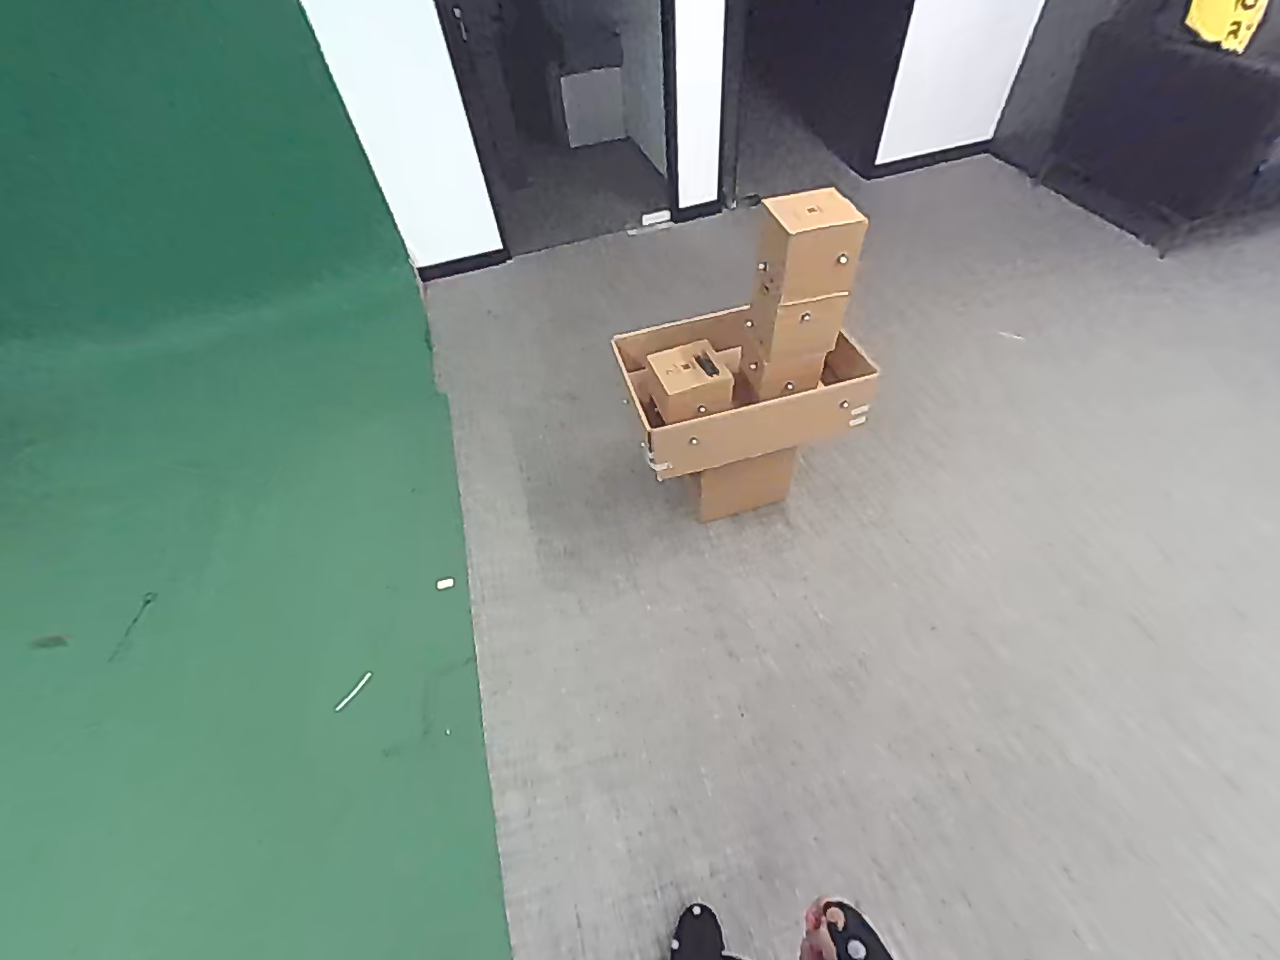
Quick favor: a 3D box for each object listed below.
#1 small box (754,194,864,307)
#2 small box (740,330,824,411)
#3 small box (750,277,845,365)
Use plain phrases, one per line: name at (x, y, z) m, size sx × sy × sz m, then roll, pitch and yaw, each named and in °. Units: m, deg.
small box at (0.374, -0.520, 1.234) m, size 0.179 × 0.176 × 0.168 m, roll -13°, pitch 50°, yaw -5°
small box at (0.381, -0.304, 1.481) m, size 0.168 × 0.176 × 0.179 m, roll -11°, pitch 51°, yaw -4°
small box at (0.383, -0.409, 1.354) m, size 0.179 × 0.176 × 0.168 m, roll -12°, pitch 51°, yaw -5°
